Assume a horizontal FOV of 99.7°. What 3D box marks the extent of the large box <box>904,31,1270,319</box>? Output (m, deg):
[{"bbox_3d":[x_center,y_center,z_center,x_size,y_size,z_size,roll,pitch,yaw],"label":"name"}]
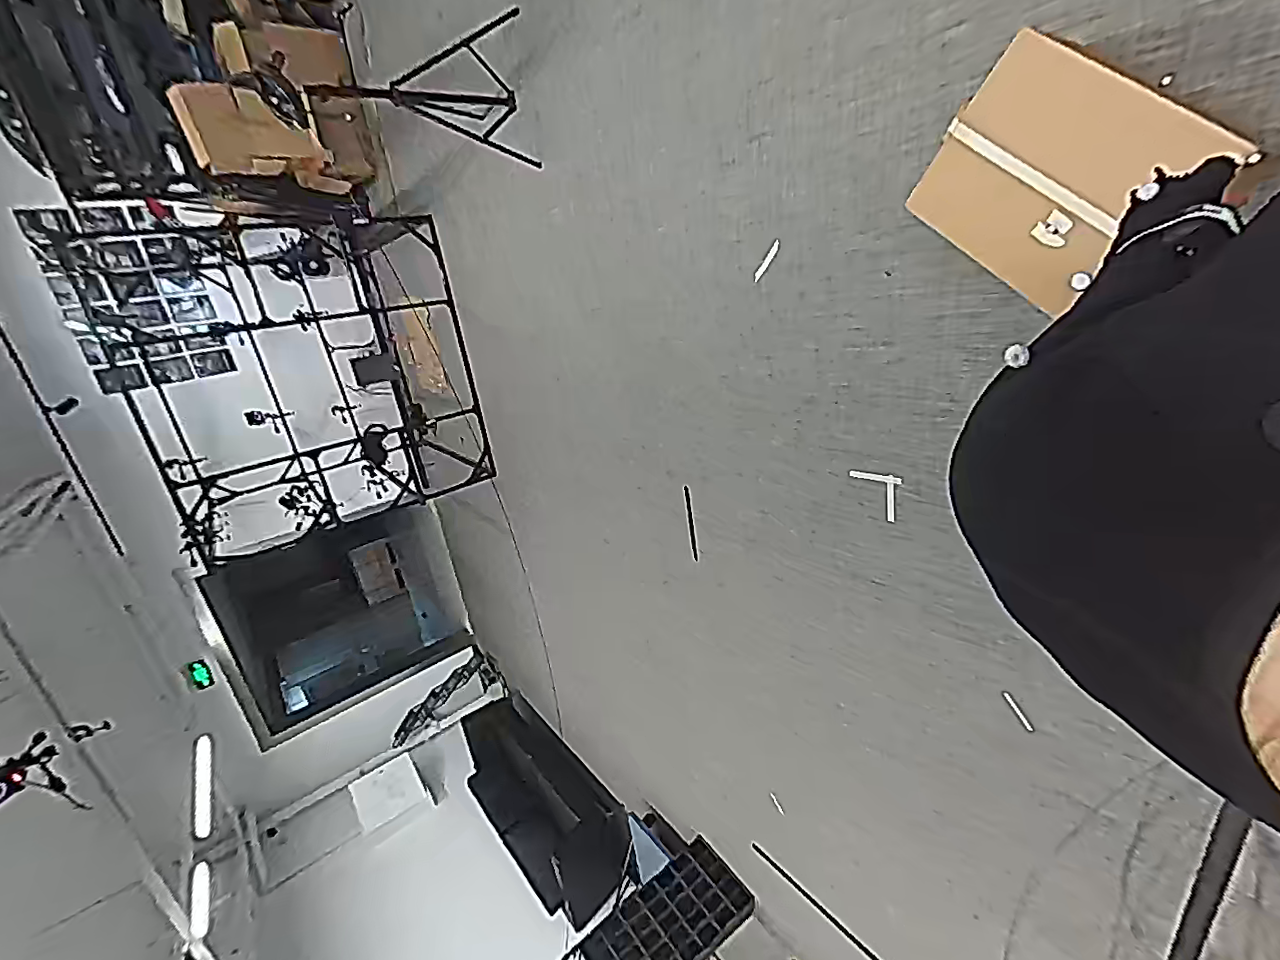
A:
[{"bbox_3d":[0.821,-0.574,1.033,0.408,0.320,0.320,52,144,21],"label":"large box"}]
